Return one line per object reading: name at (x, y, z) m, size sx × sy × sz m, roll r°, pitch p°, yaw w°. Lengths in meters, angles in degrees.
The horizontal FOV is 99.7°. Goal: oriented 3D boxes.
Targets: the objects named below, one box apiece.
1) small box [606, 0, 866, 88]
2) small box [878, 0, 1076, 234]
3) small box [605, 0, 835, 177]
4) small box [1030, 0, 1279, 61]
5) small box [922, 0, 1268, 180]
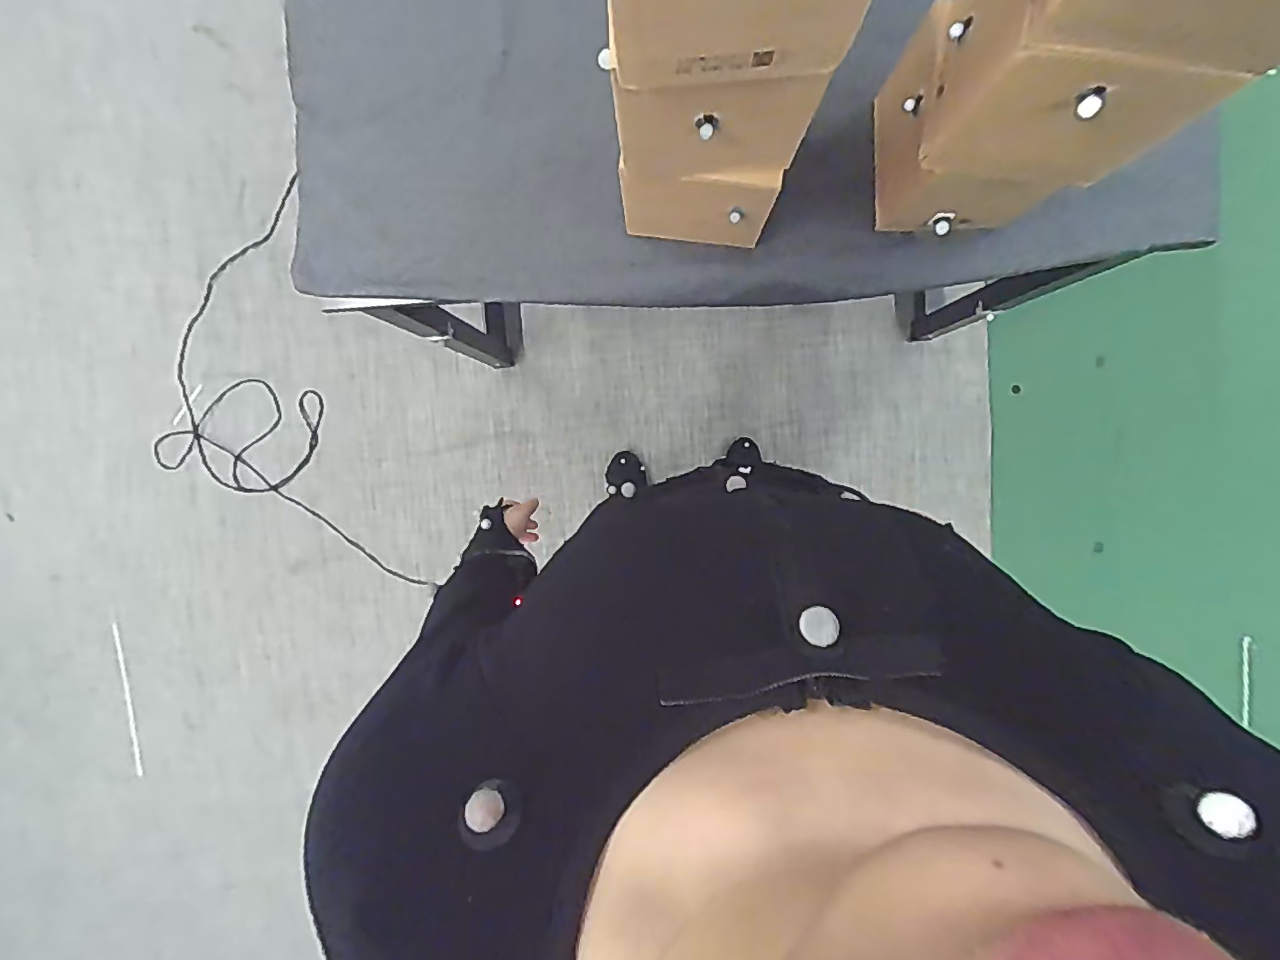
small box at (0.057, -0.378, 0.318) m, size 0.168 × 0.176 × 0.179 m, roll -3°, pitch 92°, yaw 3°
small box at (0.389, -0.411, 0.628) m, size 0.168 × 0.176 × 0.179 m, roll -2°, pitch 93°, yaw 4°
small box at (0.062, -0.396, 0.481) m, size 0.179 × 0.176 × 0.168 m, roll -2°, pitch 93°, yaw 4°
small box at (0.374, -0.381, 0.303) m, size 0.179 × 0.176 × 0.168 m, roll 10°, pitch 93°, yaw 4°
small box at (0.380, -0.387, 0.467) m, size 0.179 × 0.176 × 0.168 m, roll 9°, pitch 93°, yaw 4°
